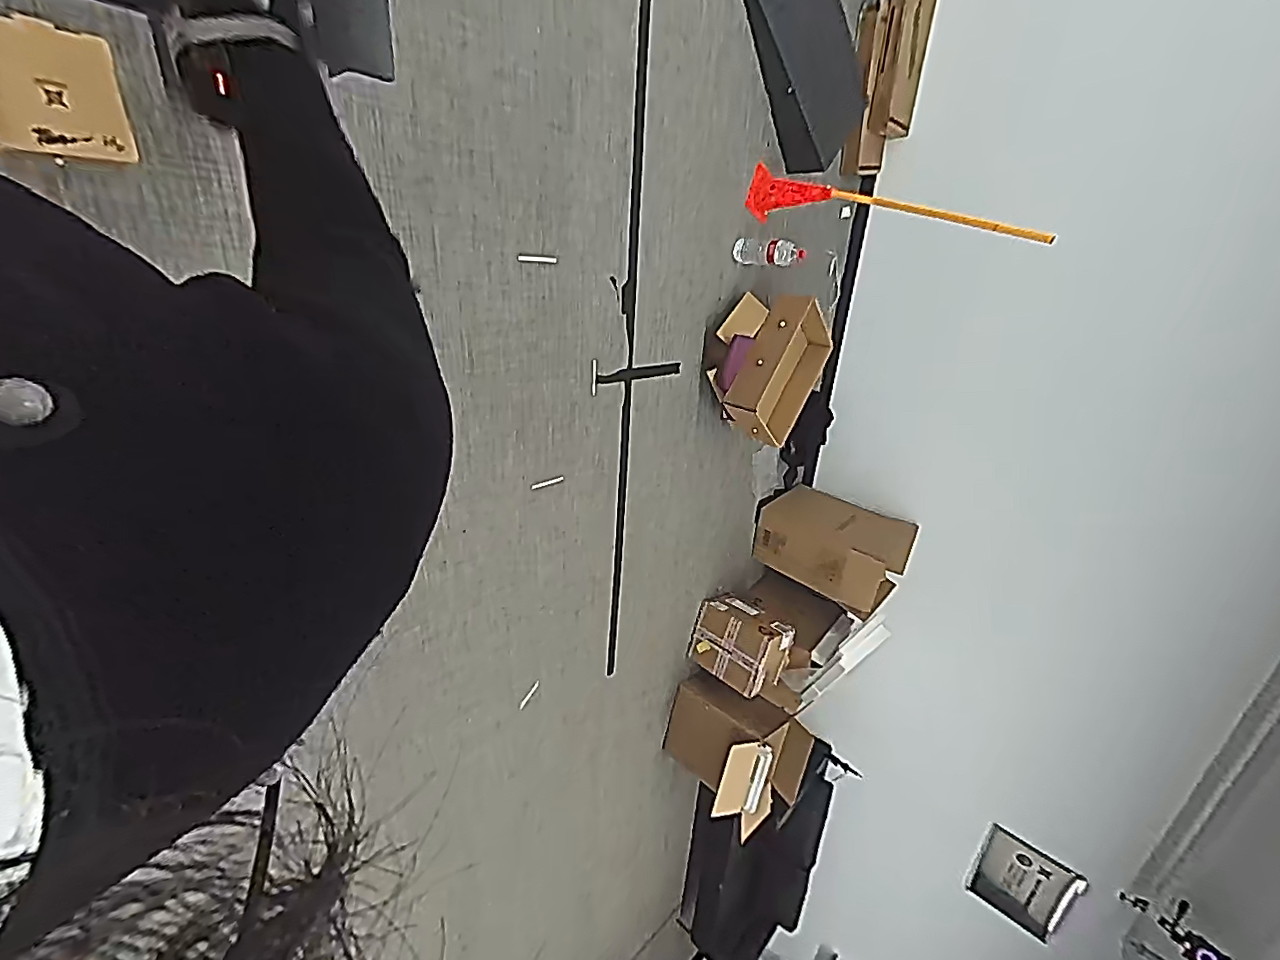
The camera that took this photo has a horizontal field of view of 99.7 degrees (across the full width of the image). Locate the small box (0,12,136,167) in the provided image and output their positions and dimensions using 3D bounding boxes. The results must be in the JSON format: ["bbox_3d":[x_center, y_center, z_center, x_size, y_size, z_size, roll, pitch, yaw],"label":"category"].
[{"bbox_3d":[-0.965,-0.625,0.880,0.168,0.176,0.179,-20,122,-43],"label":"small box"}]
